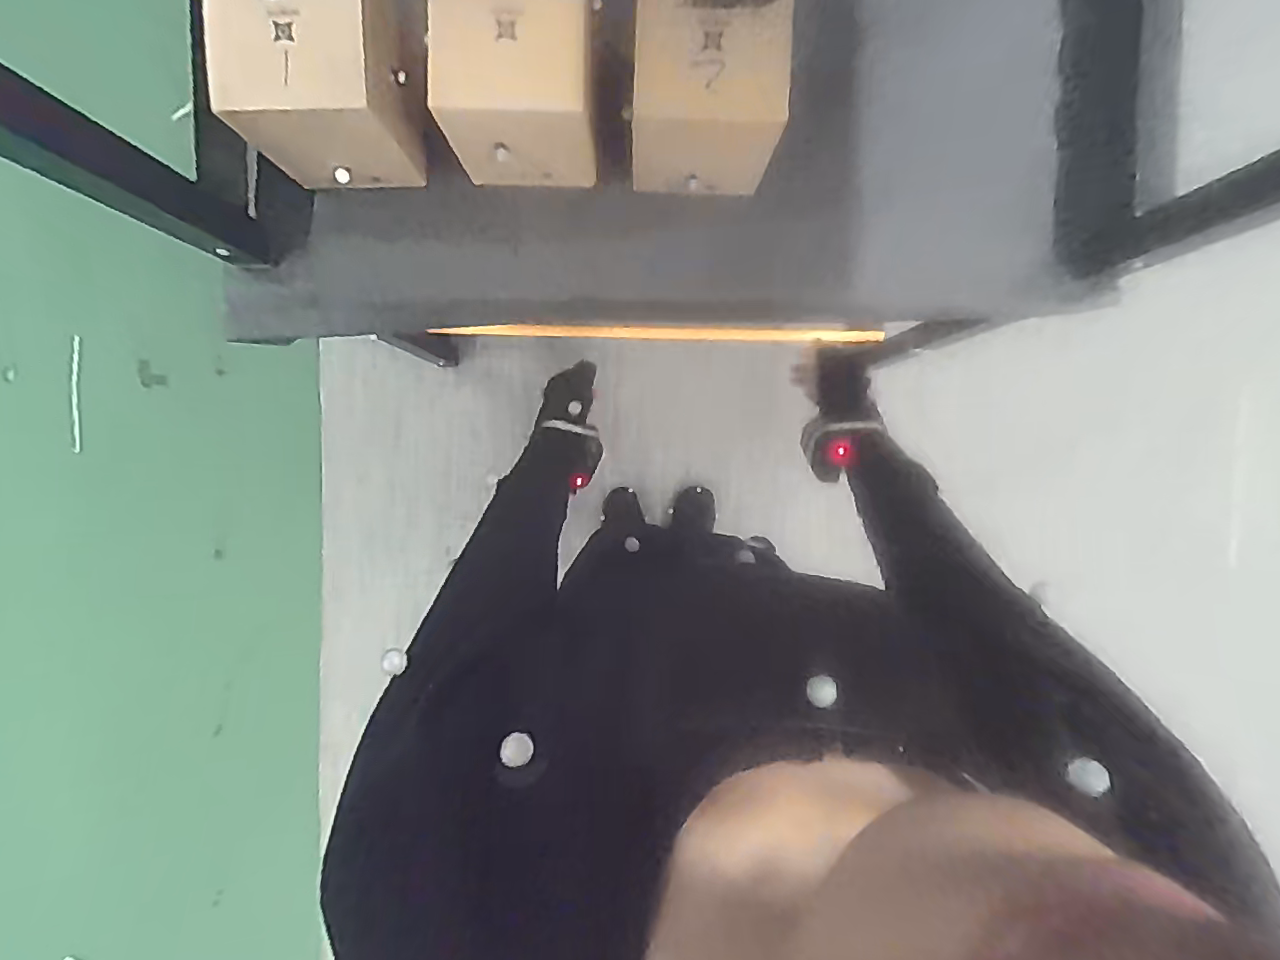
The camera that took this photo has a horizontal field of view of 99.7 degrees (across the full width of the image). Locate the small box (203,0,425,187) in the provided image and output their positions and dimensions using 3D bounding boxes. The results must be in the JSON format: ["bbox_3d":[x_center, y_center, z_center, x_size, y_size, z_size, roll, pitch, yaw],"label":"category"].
[{"bbox_3d":[-0.367,-0.476,0.637,0.168,0.176,0.179,-1,93,0],"label":"small box"}]

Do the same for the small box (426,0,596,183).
[{"bbox_3d":[-0.140,-0.479,0.641,0.168,0.176,0.179,1,92,-1],"label":"small box"}]
